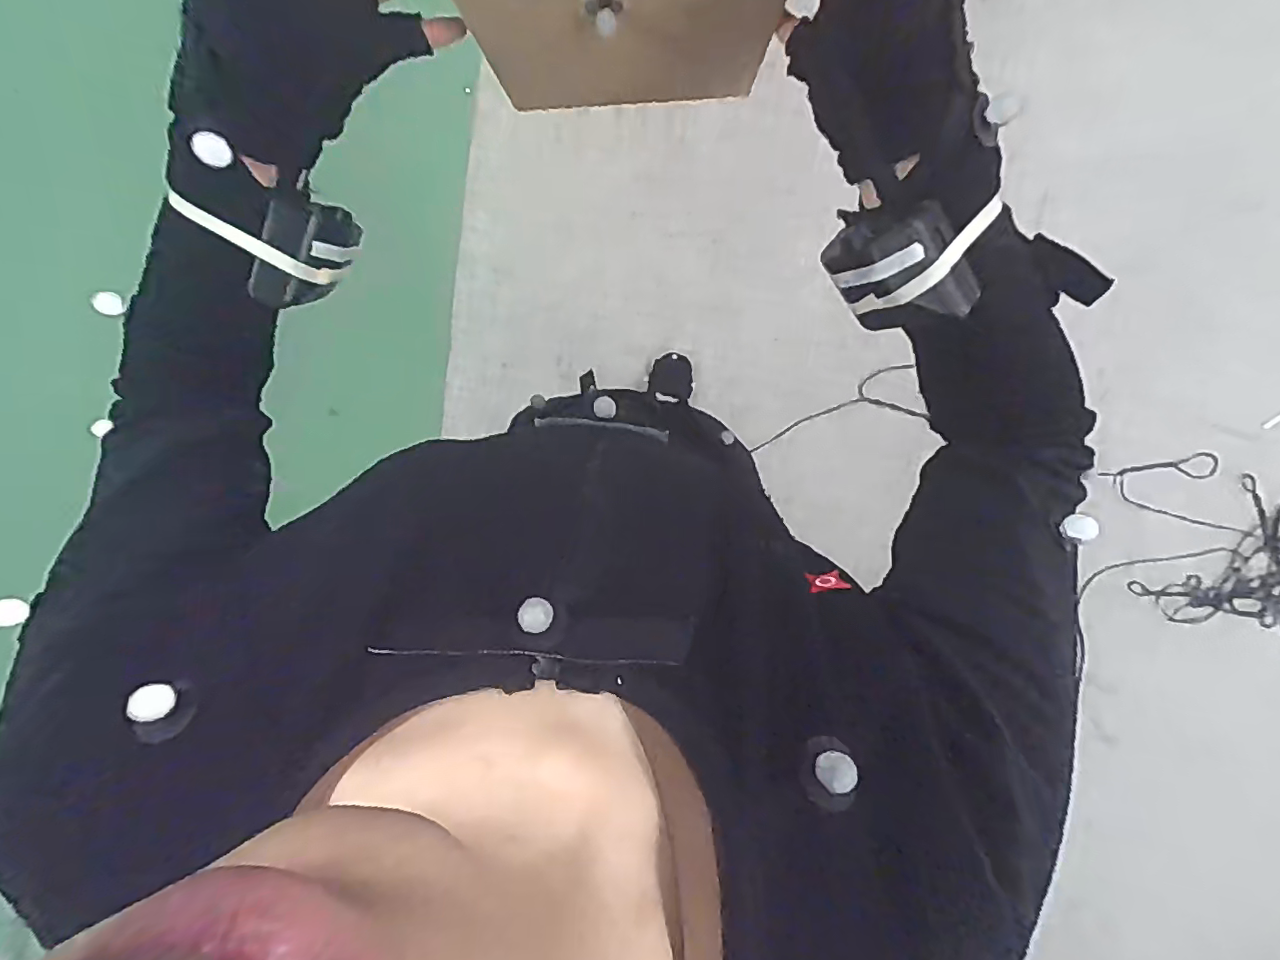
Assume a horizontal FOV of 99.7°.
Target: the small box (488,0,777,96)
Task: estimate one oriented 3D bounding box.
[{"bbox_3d":[-0.006,-0.345,0.305,0.179,0.176,0.168,-3,105,1],"label":"small box"}]
